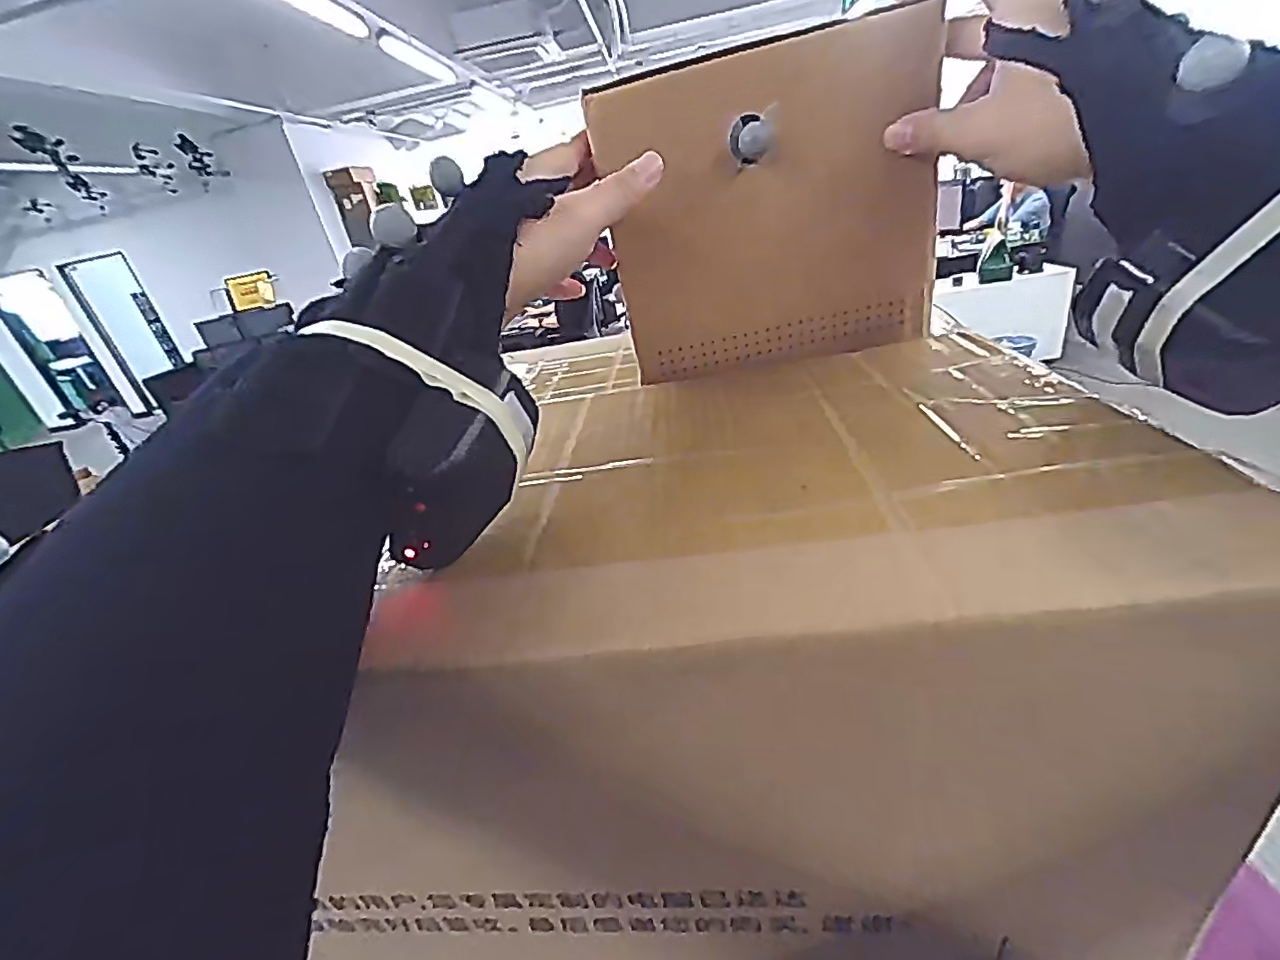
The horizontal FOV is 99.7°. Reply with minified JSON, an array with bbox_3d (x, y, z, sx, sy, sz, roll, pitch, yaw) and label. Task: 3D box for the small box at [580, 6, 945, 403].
[{"bbox_3d":[0.072,-0.169,0.361,0.179,0.176,0.168,-12,28,6],"label":"small box"}]
